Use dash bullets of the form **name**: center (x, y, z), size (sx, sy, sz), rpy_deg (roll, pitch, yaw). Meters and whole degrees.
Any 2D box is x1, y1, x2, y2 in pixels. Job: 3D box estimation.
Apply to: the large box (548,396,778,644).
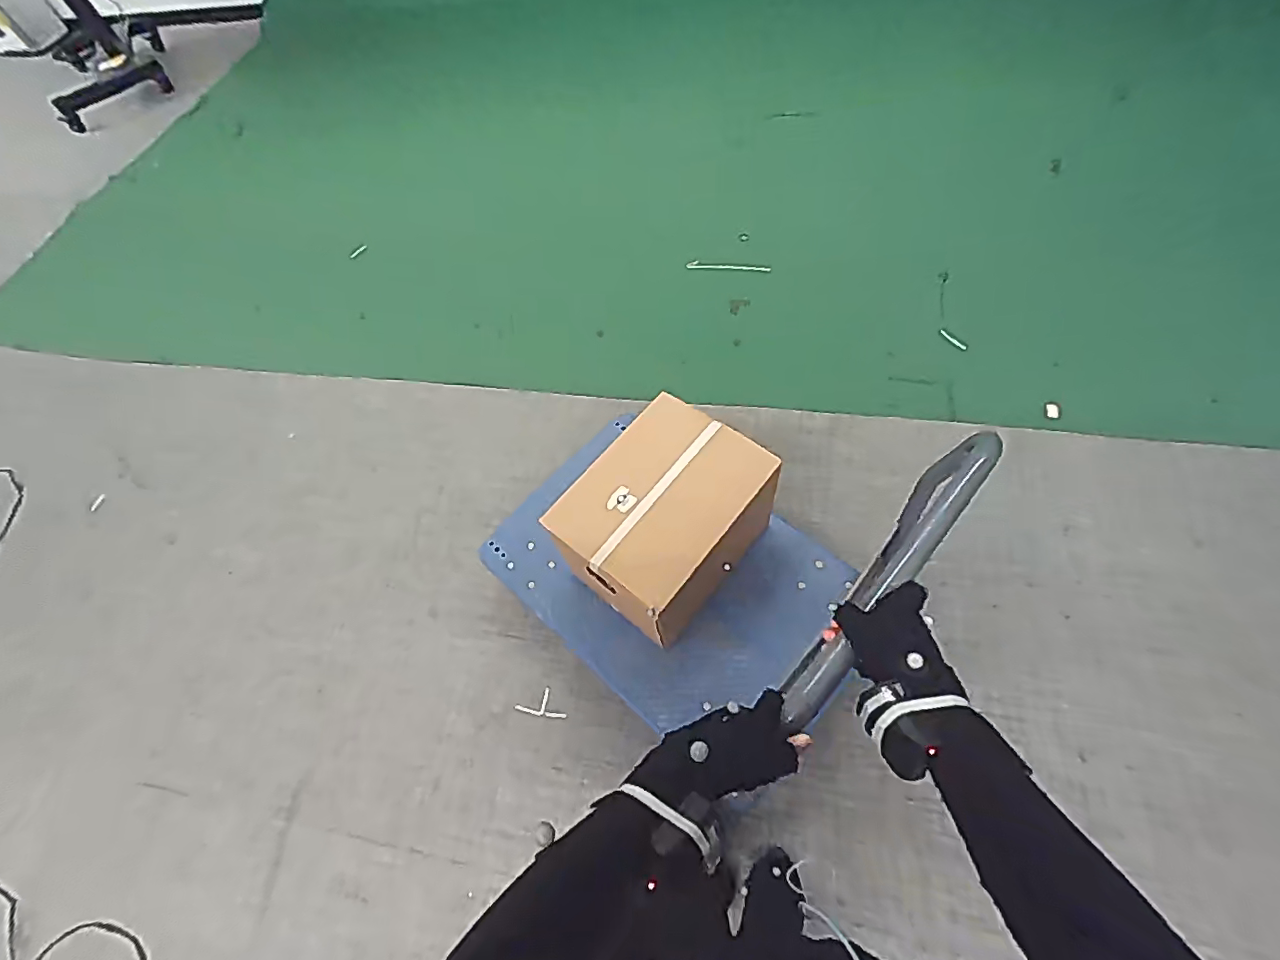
- **large box**: center (0.066, 0.097, 1.233), size (0.320, 0.320, 0.408), rpy_deg (33, 71, 23)
